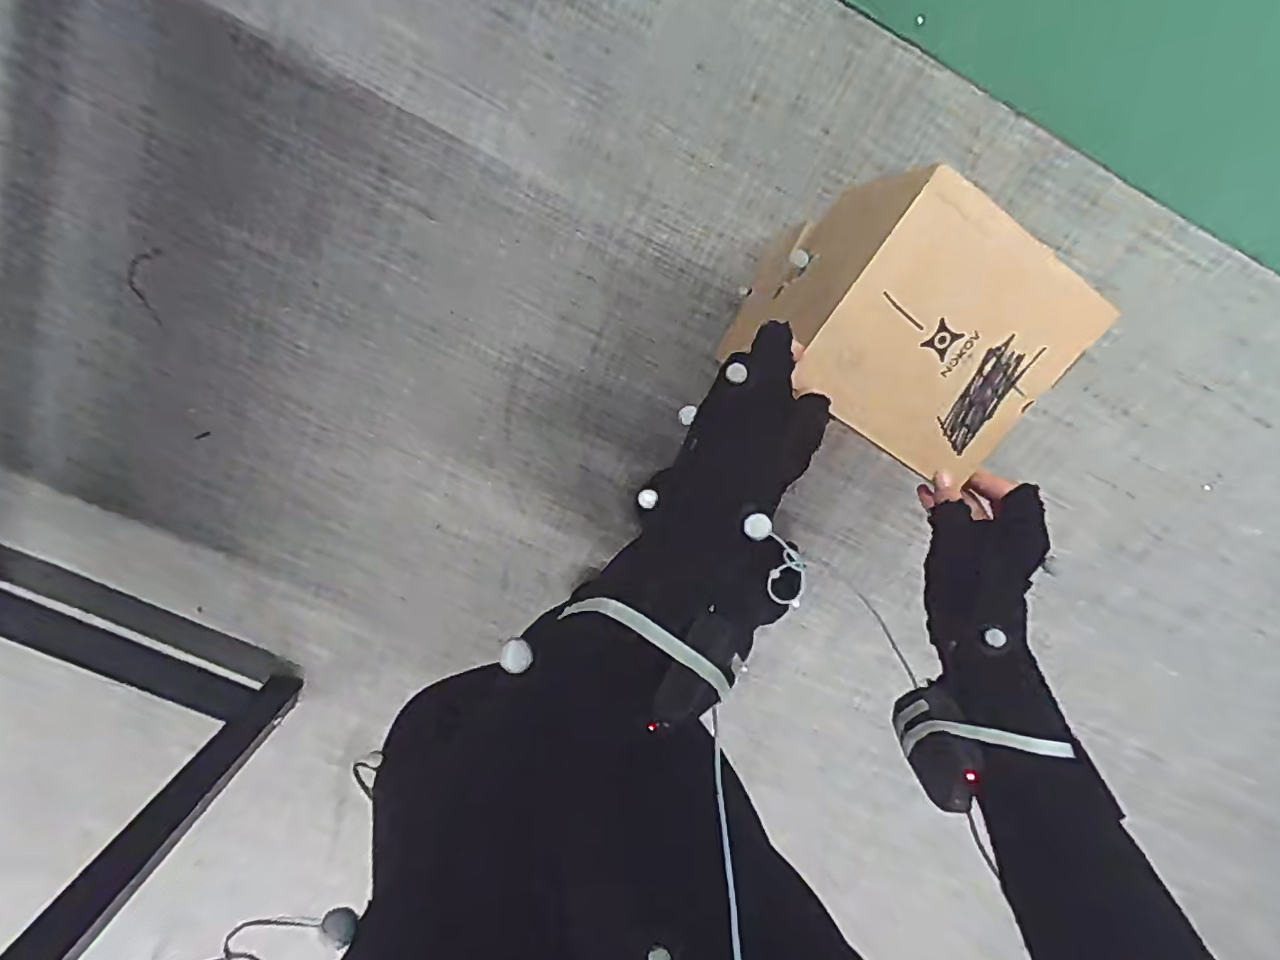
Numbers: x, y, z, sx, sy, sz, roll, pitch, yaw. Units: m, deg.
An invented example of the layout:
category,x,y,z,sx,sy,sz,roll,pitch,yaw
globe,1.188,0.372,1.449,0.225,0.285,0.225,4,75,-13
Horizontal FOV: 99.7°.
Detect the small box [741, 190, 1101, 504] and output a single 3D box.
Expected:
category,x,y,z,sx,sy,sz,roll,pitch,yaw
small box,0.214,-0.114,0.463,0.179,0.176,0.168,31,107,-13
